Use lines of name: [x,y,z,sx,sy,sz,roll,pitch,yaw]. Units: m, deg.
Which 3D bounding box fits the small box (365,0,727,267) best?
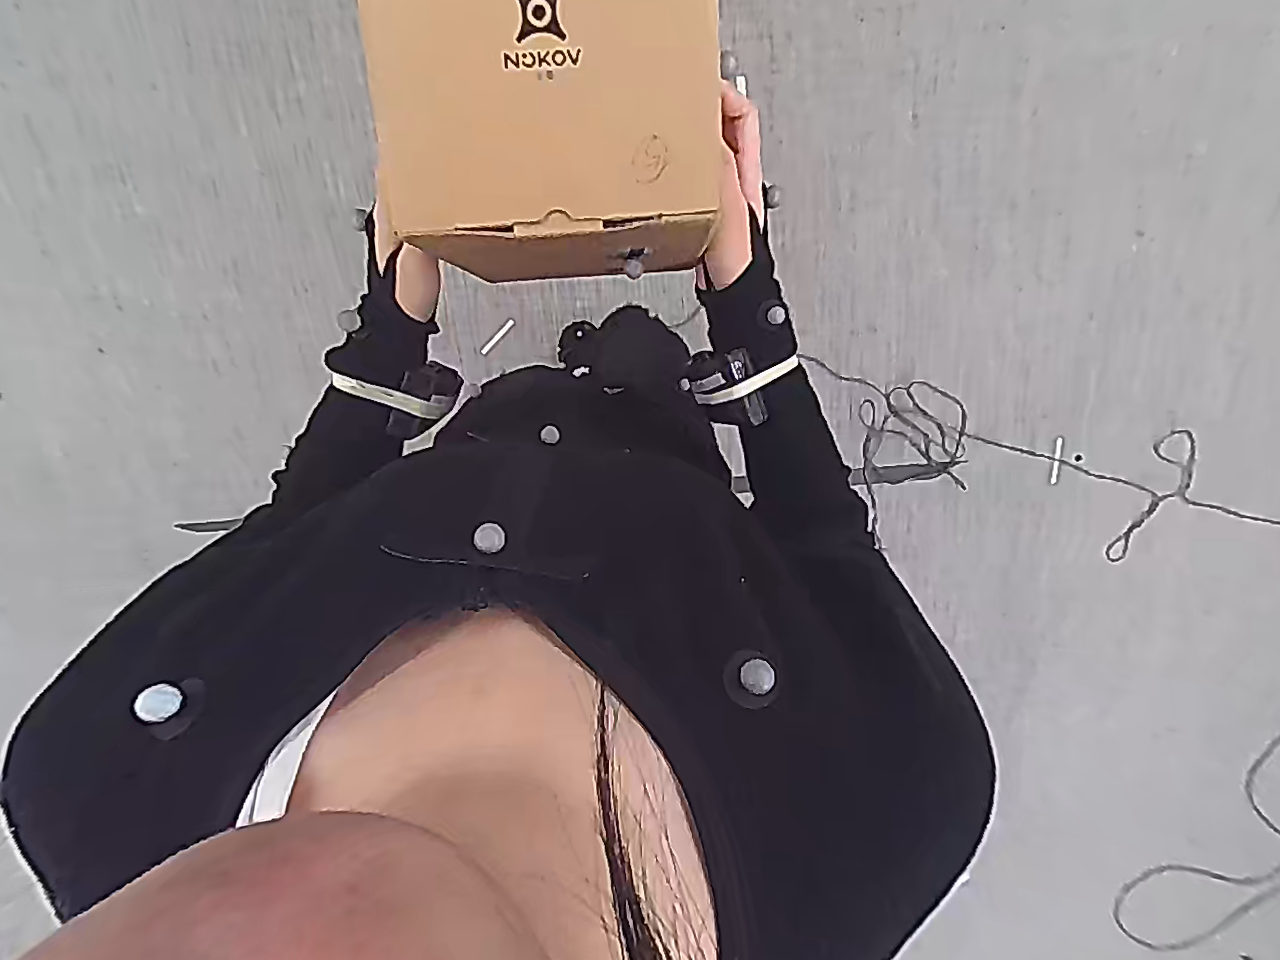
small box: [-0.042,-0.232,0.323,0.168,0.176,0.179,-4,102,0]
